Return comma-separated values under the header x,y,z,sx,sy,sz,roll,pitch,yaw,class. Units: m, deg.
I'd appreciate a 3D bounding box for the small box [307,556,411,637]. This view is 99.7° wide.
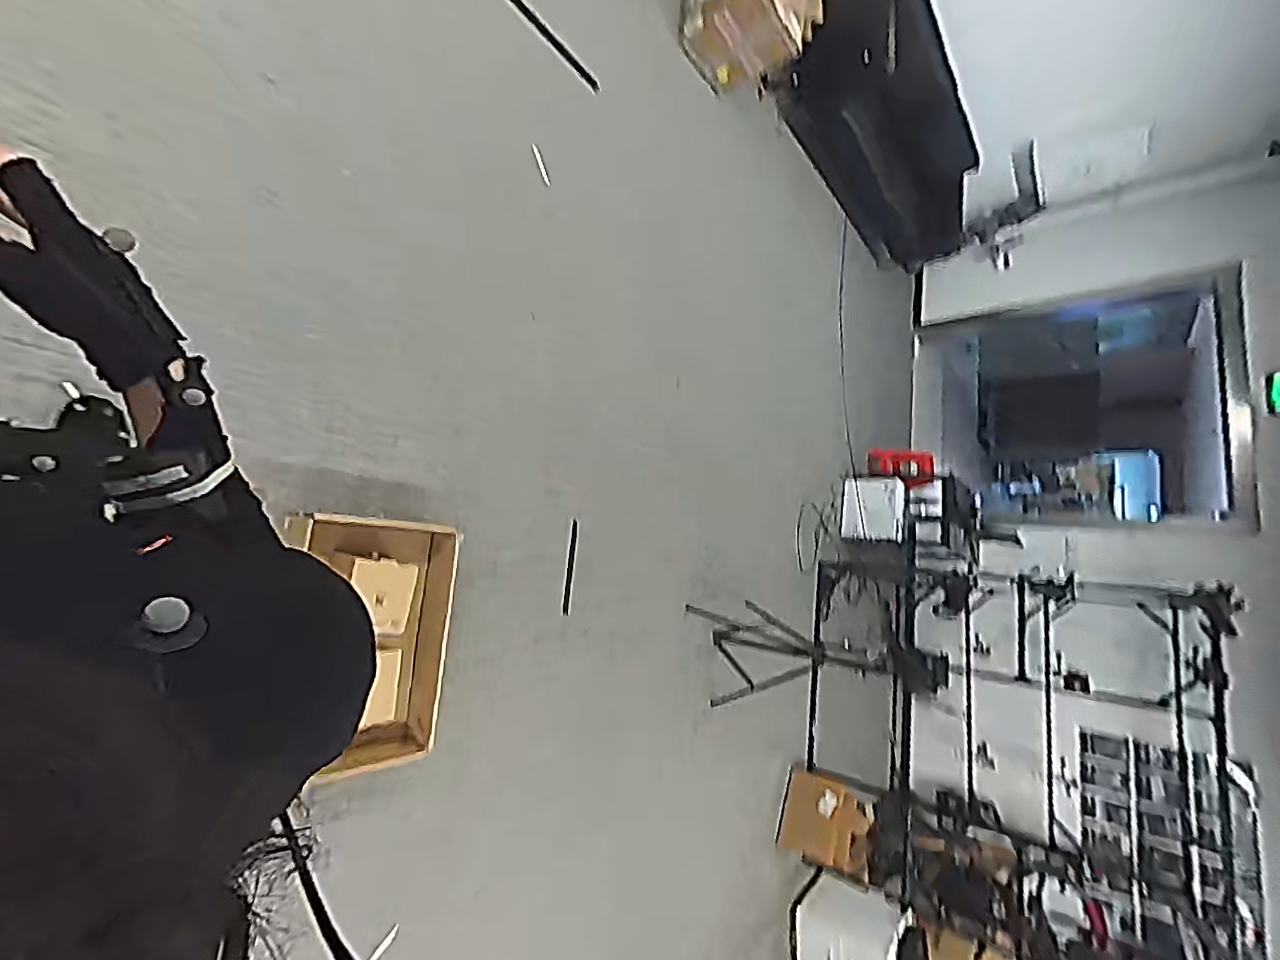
x,y,z,sx,sy,sz,roll,pitch,yaw,class
-0.718,0.294,1.378,0.168,0.176,0.179,22,73,-47,small box

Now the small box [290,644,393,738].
x,y,z,sx,sy,sz,roll,pitch,yaw,class
-0.743,0.515,1.344,0.168,0.176,0.179,14,76,-49,small box
